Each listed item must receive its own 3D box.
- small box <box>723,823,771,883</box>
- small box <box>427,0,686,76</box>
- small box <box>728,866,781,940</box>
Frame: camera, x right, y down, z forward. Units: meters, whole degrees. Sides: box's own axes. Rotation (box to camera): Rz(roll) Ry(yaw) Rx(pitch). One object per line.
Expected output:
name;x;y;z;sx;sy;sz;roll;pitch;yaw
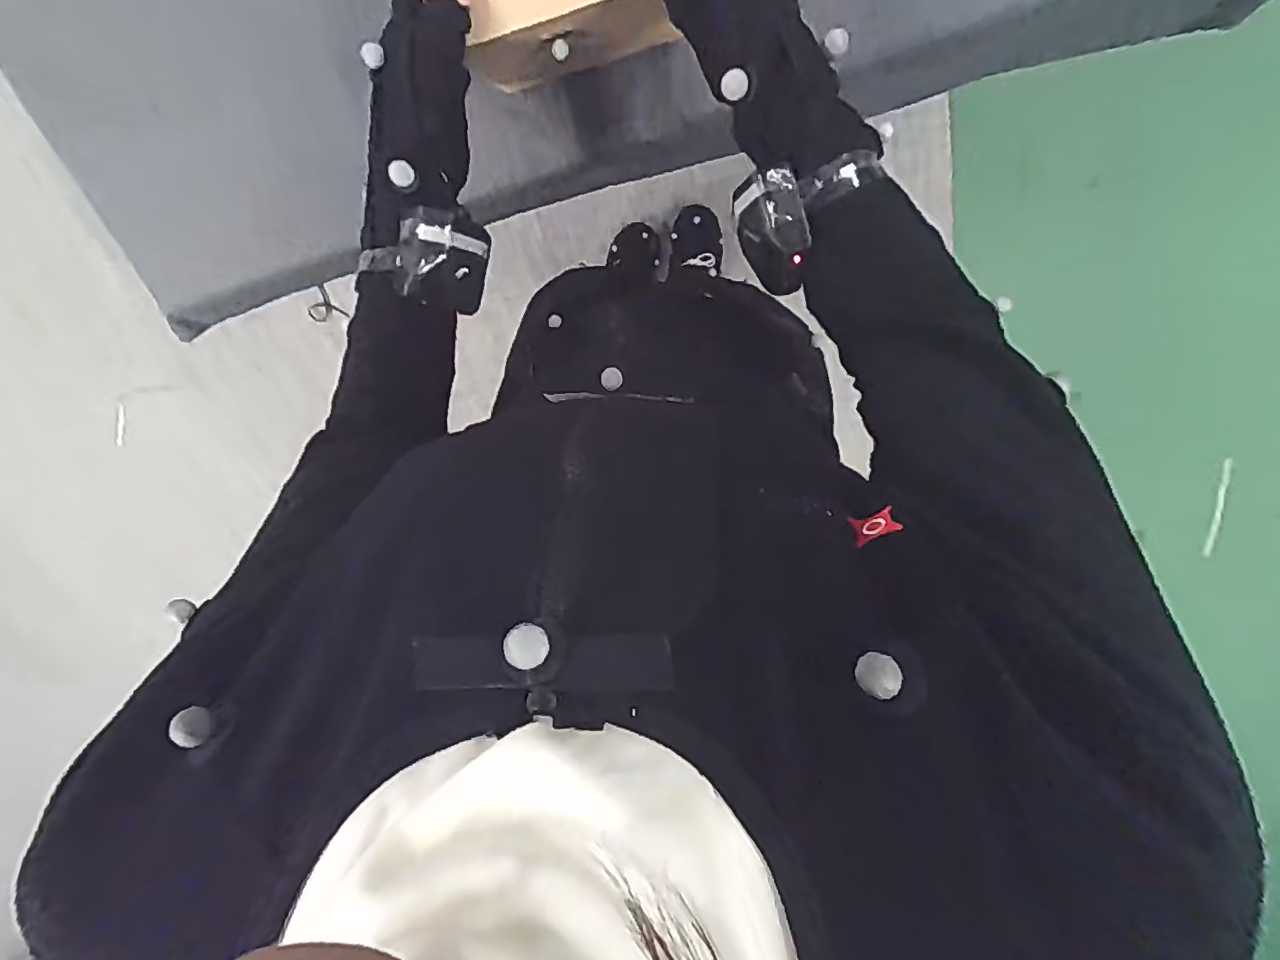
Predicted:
small box;0.441;1.557;2.241;0.179;0.176;0.168;-11;117;9
small box;-0.064;-0.417;0.384;0.179;0.176;0.168;-11;118;9
small box;0.443;1.640;2.100;0.168;0.176;0.179;-12;115;7
